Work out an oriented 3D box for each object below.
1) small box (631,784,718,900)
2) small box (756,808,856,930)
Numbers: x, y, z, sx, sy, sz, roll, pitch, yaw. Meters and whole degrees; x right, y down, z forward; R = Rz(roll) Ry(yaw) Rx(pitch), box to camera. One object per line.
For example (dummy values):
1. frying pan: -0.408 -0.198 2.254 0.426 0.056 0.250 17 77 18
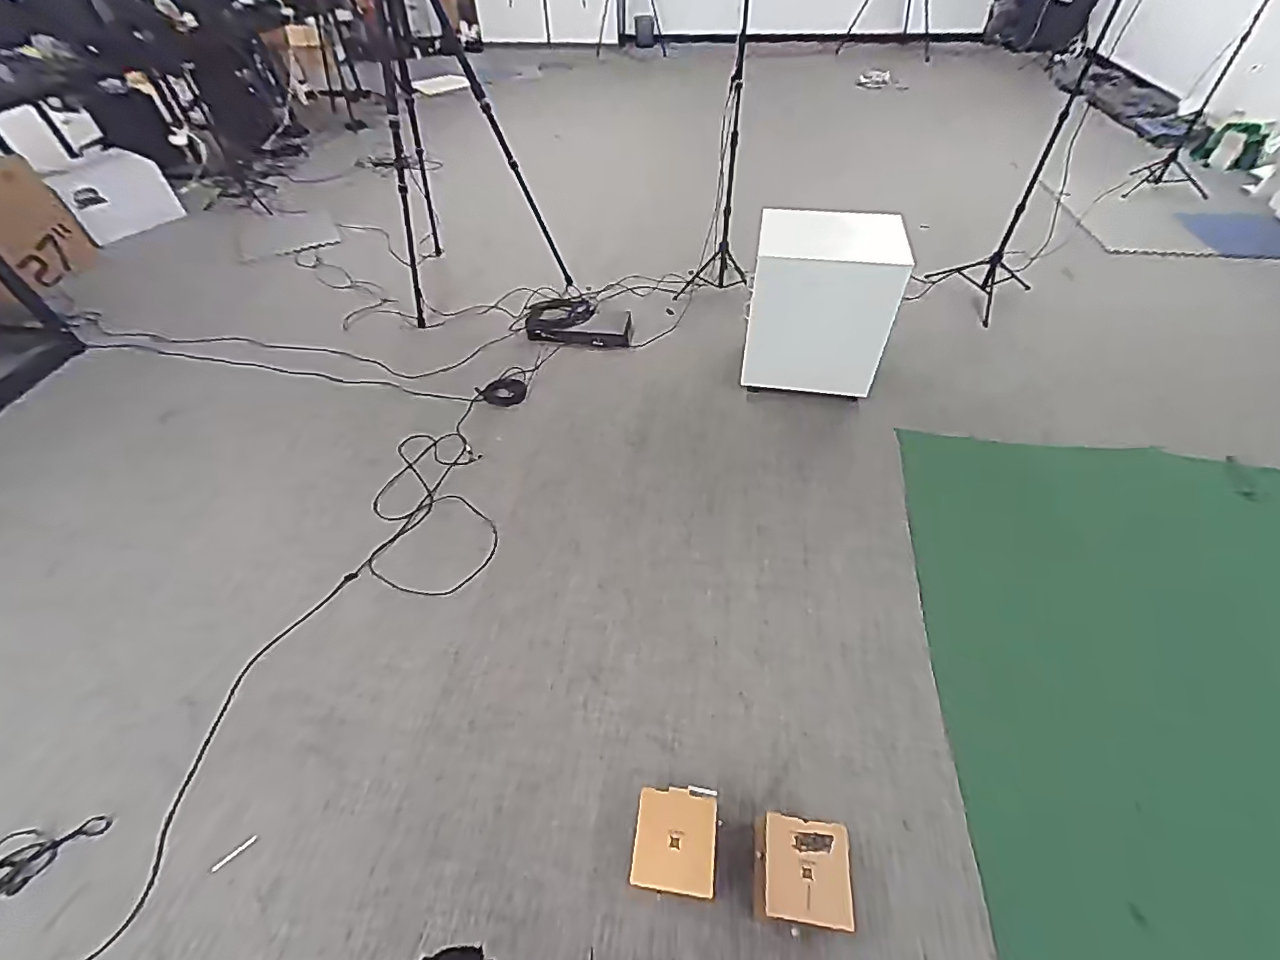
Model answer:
1. small box: 0.077 0.783 1.166 0.168 0.176 0.179 5 49 6
2. small box: 0.336 0.814 1.130 0.168 0.176 0.179 6 50 6
